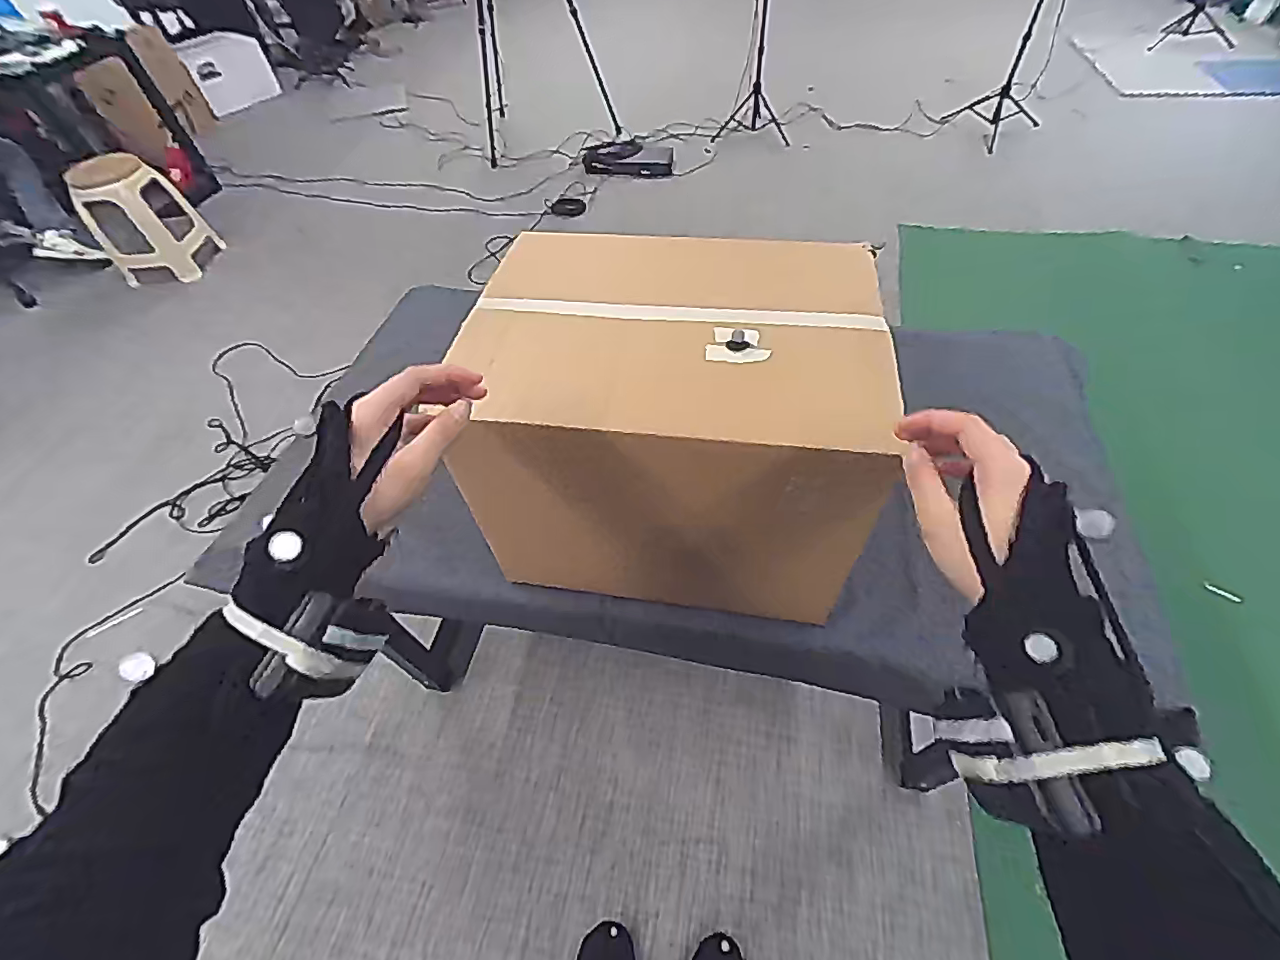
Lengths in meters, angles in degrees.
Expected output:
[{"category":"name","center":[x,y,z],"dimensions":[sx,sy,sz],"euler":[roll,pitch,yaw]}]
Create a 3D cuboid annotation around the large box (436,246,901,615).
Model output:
[{"category":"large box","center":[0.040,-0.060,0.659],"dimensions":[0.408,0.320,0.320],"euler":[6,52,8]}]
